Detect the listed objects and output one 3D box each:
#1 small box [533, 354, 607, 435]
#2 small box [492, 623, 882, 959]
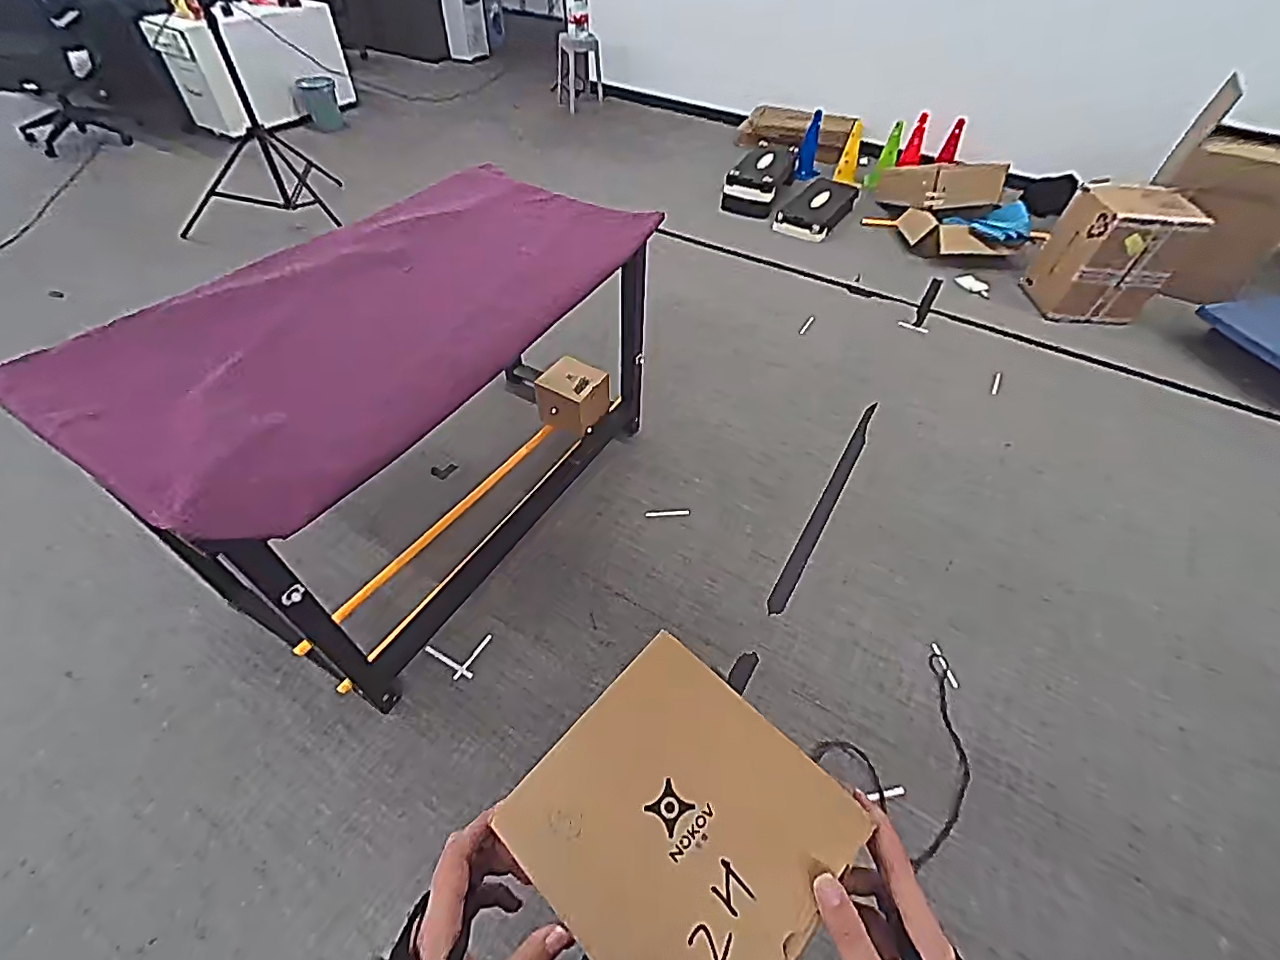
[{"bbox_3d":[-0.219,-0.271,1.743,0.179,0.176,0.168,26,54,19],"label":"small box"},{"bbox_3d":[0.030,0.241,0.388,0.179,0.176,0.168,37,68,25],"label":"small box"}]
